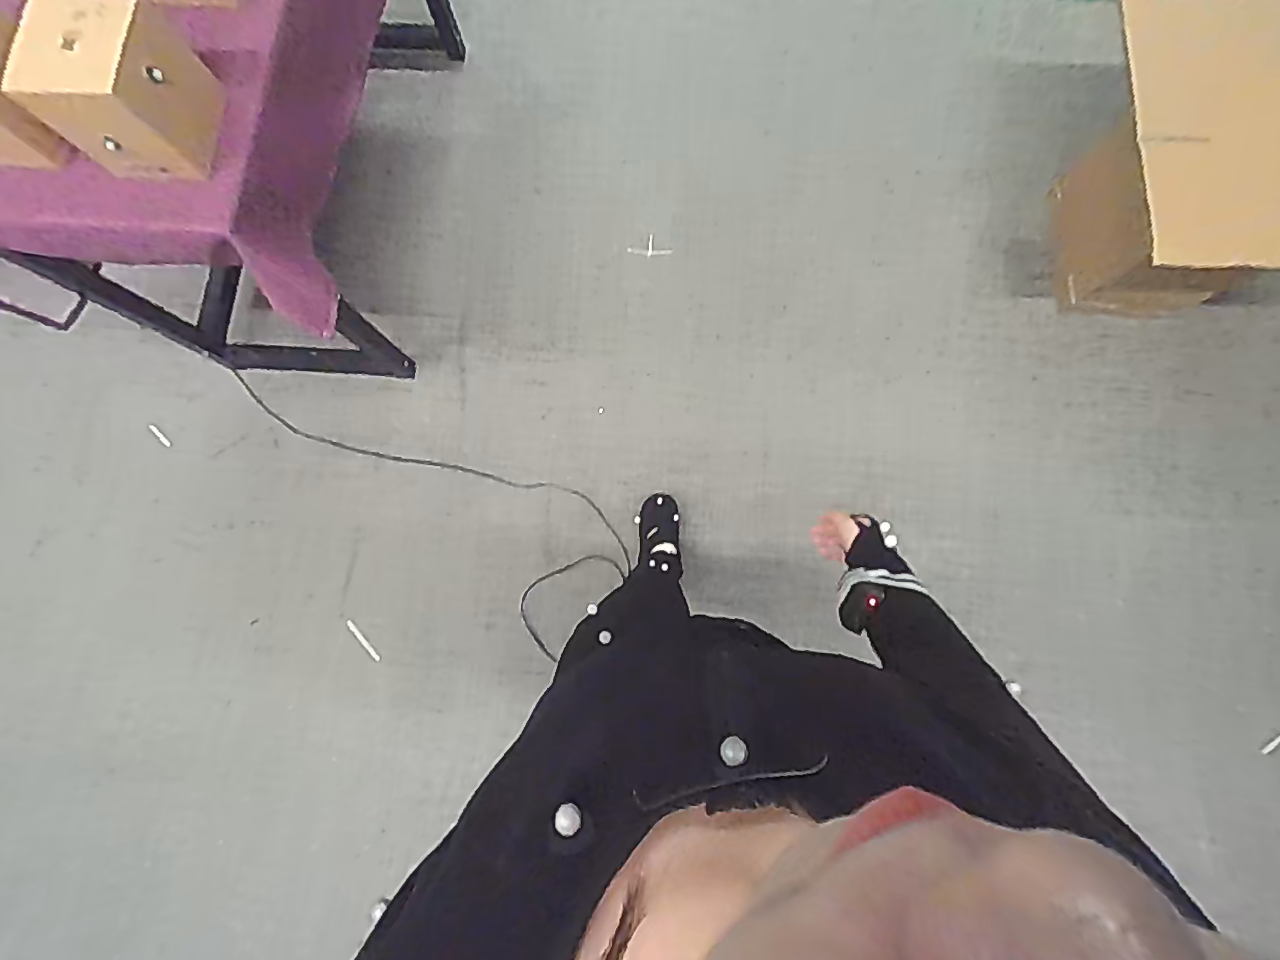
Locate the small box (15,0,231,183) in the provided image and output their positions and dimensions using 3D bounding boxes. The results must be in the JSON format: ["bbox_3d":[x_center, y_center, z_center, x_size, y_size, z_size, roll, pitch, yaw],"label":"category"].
[{"bbox_3d":[-0.798,-0.603,0.856,0.168,0.176,0.179,4,79,3],"label":"small box"}]

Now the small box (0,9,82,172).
[{"bbox_3d":[-1.055,-0.628,0.870,0.179,0.176,0.168,5,79,3],"label":"small box"}]
